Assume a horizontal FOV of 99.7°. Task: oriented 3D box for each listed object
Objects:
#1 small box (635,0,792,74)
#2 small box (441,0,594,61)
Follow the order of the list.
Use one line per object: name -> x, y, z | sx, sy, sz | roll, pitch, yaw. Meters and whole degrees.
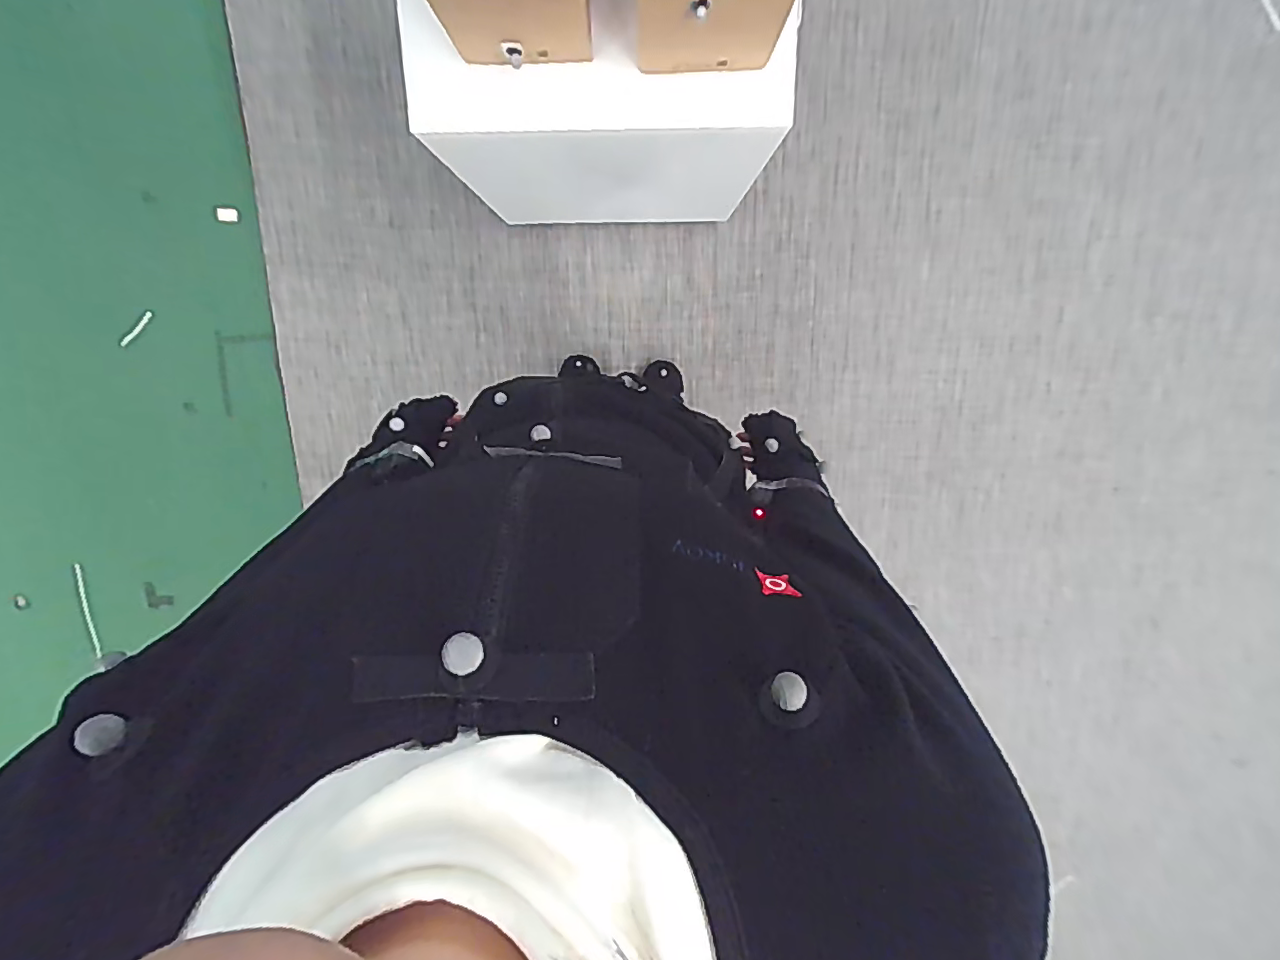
small box -> 0.077, -0.596, 0.603 | 0.168, 0.176, 0.179 | -1, 102, 0
small box -> -0.143, -0.601, 0.589 | 0.168, 0.176, 0.179 | -3, 104, 1
